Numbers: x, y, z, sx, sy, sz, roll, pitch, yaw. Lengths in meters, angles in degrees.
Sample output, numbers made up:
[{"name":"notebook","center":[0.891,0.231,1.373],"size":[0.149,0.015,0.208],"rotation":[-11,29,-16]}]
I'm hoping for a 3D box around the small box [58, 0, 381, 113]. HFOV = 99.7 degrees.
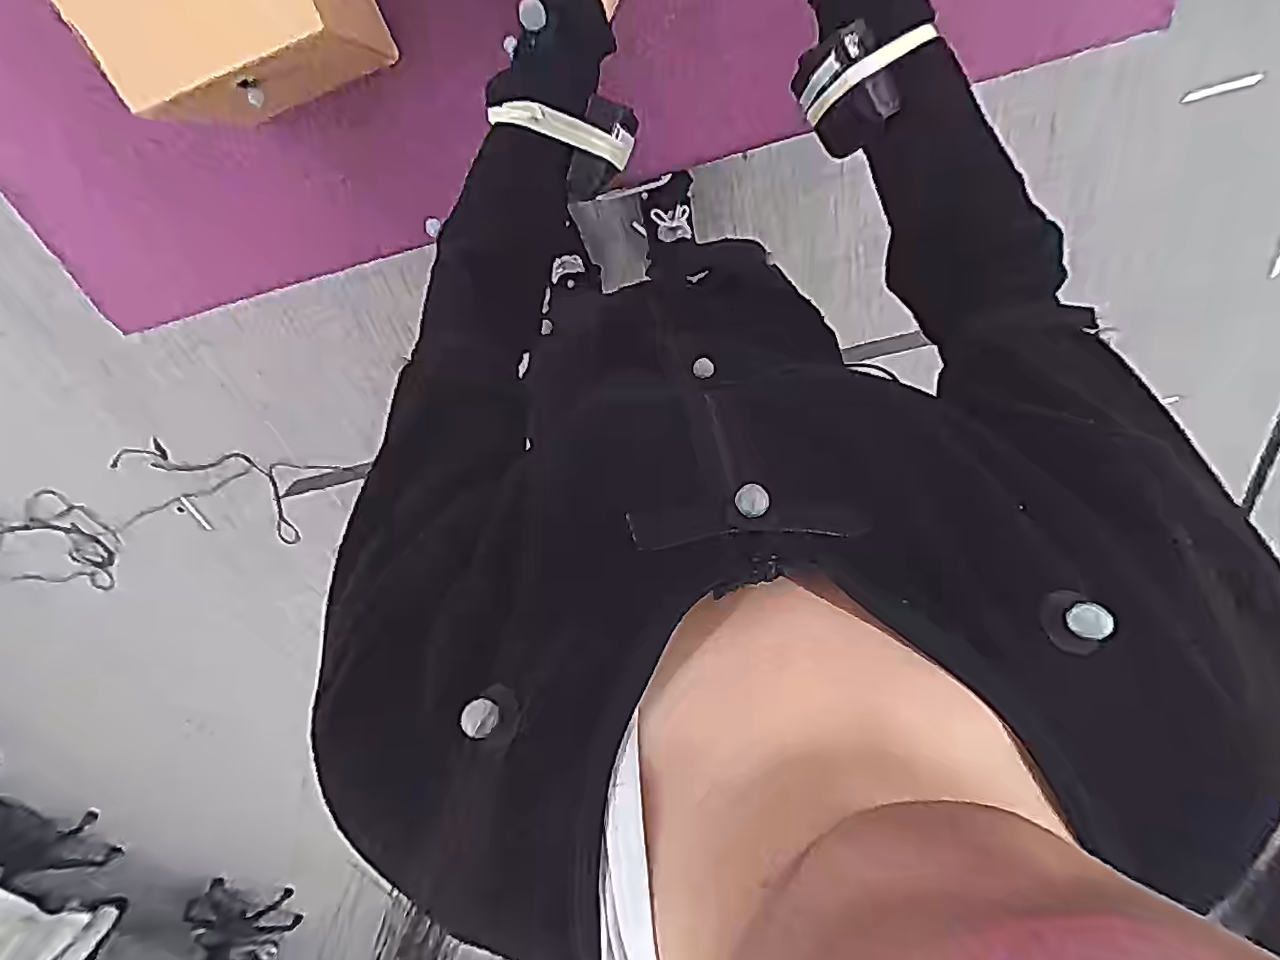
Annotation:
[{"name":"small box","center":[-0.338,-0.418,0.433],"size":[0.179,0.176,0.168],"rotation":[-16,122,8]}]
